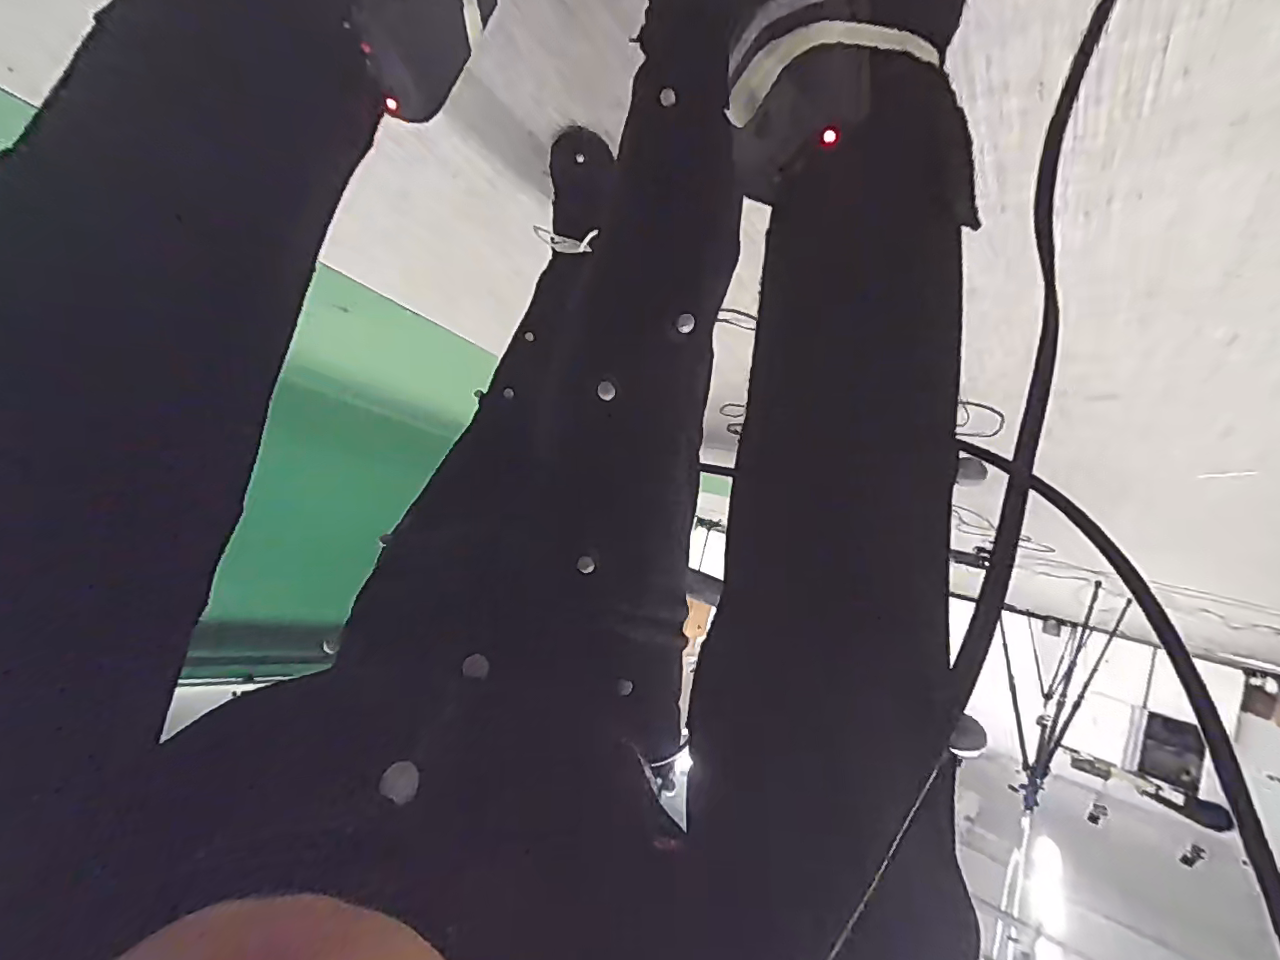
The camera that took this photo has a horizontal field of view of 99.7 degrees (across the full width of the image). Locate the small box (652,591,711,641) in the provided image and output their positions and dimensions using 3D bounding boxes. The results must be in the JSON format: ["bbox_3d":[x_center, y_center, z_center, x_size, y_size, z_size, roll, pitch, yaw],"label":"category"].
[{"bbox_3d":[0.180,0.573,2.291,0.168,0.176,0.179,11,174,36],"label":"small box"}]
